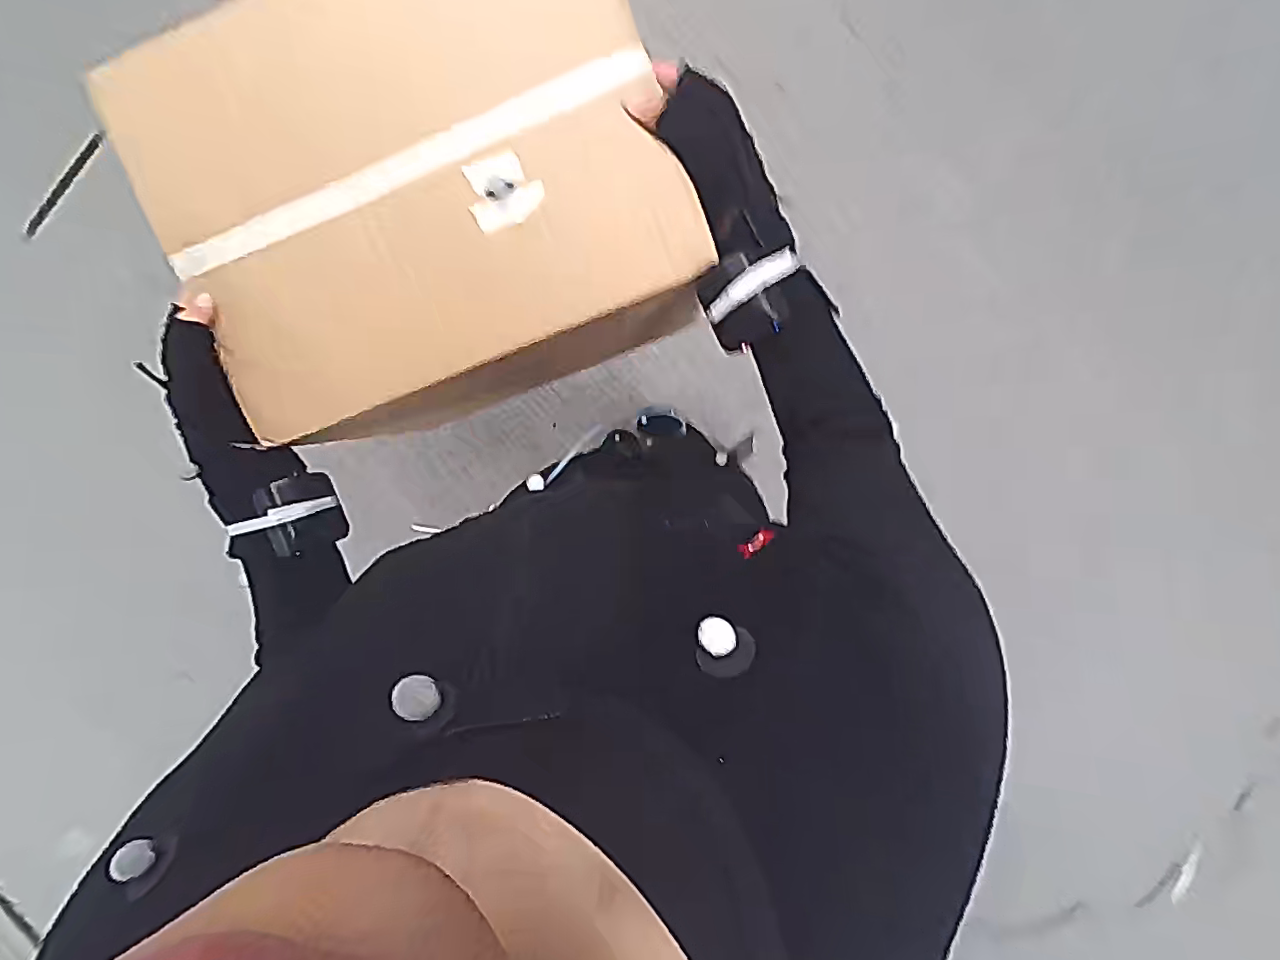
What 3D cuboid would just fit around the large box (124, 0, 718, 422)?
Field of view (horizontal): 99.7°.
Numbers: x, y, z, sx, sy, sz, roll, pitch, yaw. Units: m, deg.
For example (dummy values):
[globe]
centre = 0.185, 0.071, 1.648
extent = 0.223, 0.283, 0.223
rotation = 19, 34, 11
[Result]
[large box]
centre = -0.169, -0.275, 0.574
extent = 0.408, 0.320, 0.320
rotation = -19, 98, 4
